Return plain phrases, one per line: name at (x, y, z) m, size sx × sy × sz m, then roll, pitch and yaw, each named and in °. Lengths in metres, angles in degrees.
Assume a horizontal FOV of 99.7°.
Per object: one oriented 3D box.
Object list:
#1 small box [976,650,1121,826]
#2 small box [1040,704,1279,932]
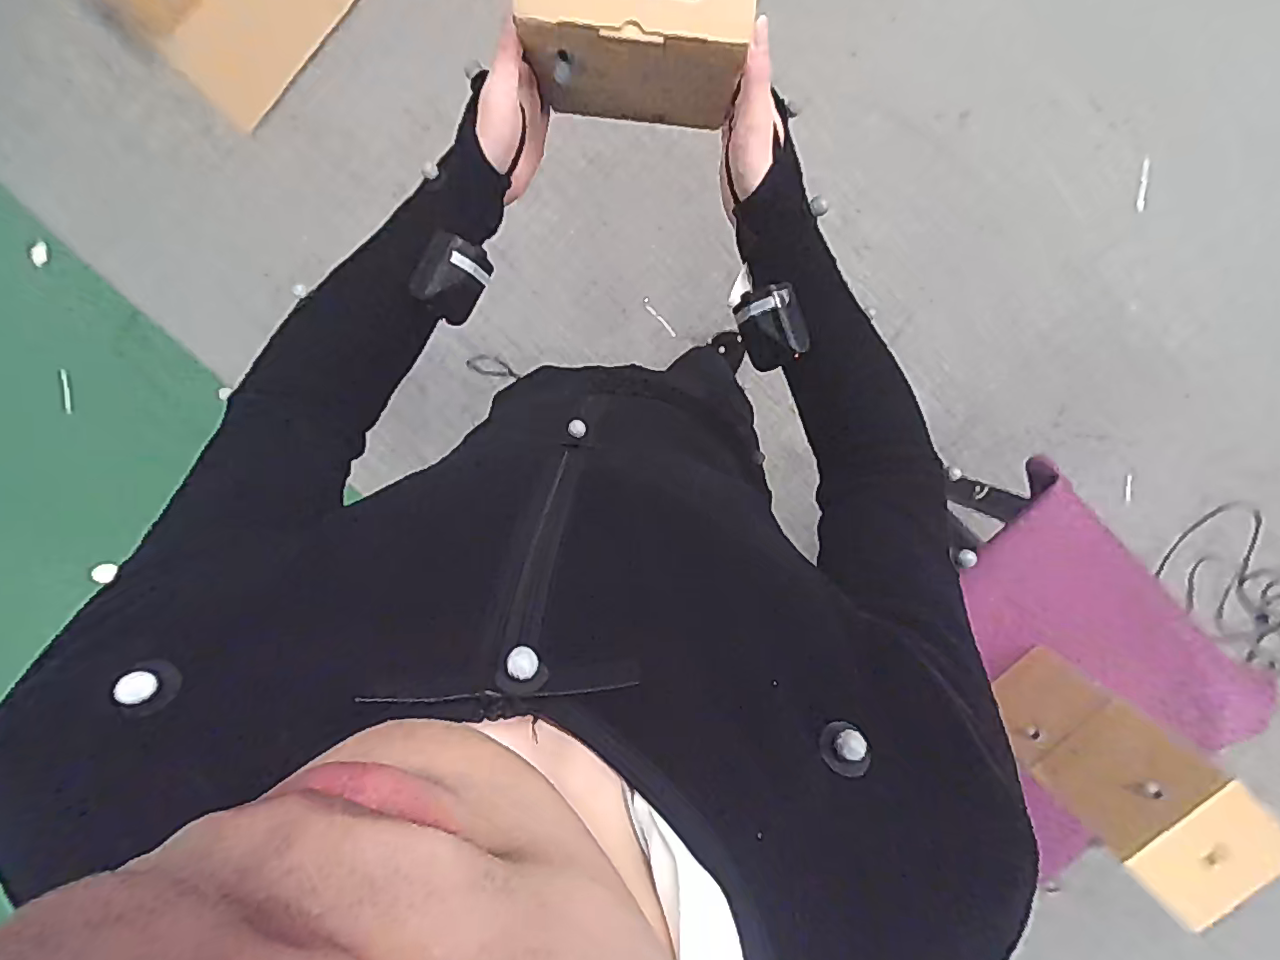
small box at (0.720, 0.433, 0.925) m, size 0.168 × 0.176 × 0.179 m, roll 44°, pitch 98°, yaw -9°
small box at (0.720, 0.464, 0.766) m, size 0.168 × 0.176 × 0.179 m, roll 44°, pitch 98°, yaw -8°
